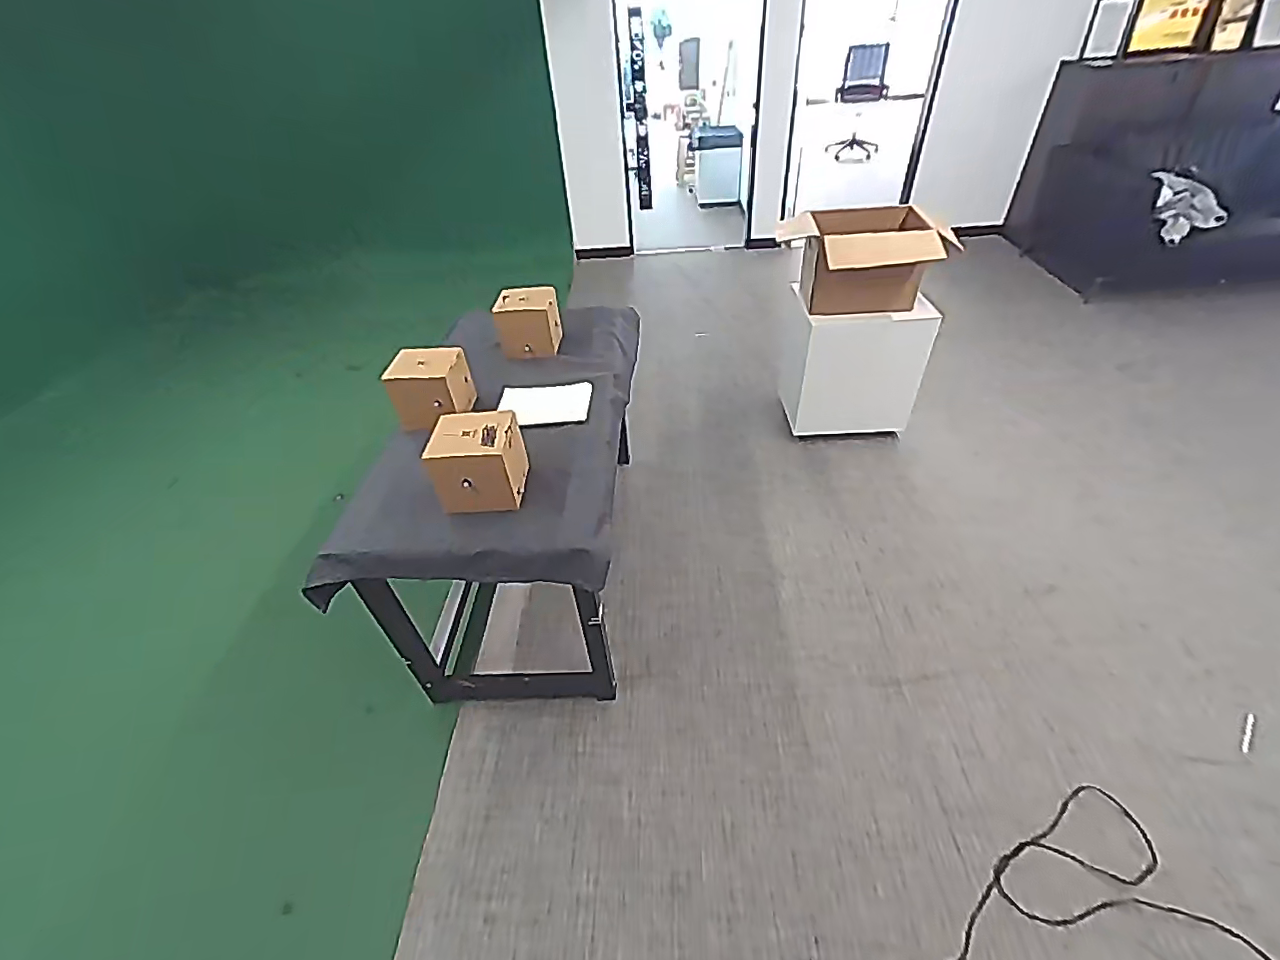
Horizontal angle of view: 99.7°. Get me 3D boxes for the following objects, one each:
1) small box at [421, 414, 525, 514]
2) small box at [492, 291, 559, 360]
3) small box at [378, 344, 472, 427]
[{"bbox_3d":[-0.374,-0.036,1.252,0.179,0.176,0.168,-3,41,2],"label":"small box"},{"bbox_3d":[-0.369,-0.508,1.780,0.179,0.176,0.168,0,42,3],"label":"small box"},{"bbox_3d":[-0.584,-0.260,1.498,0.179,0.176,0.168,-3,41,3],"label":"small box"}]
